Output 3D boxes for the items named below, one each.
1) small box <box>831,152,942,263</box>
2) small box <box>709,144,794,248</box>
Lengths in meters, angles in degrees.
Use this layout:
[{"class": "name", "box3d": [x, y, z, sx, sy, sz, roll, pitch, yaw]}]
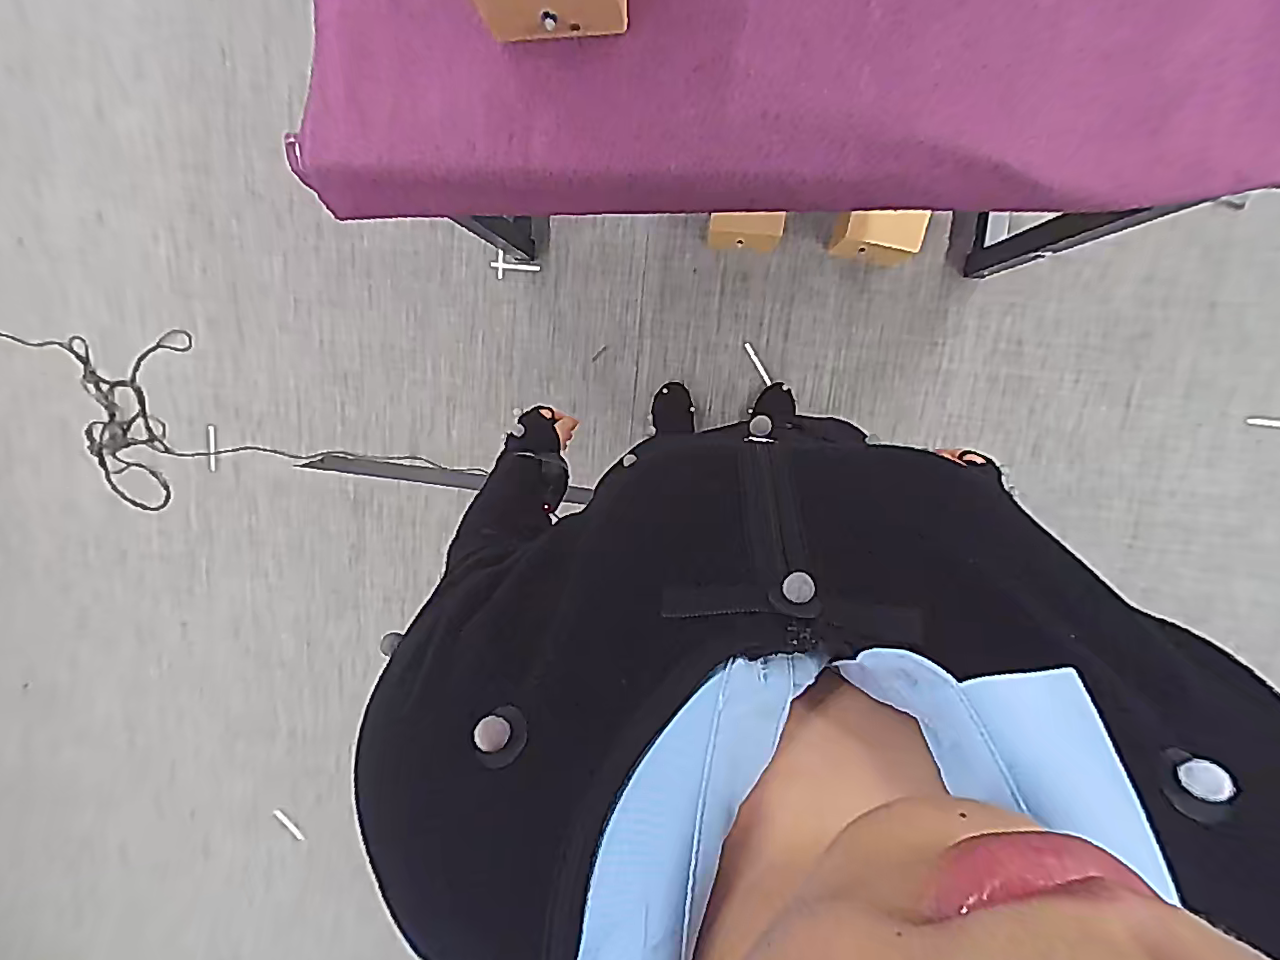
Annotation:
[{"class": "small box", "box3d": [0.560, -0.622, 1.256, 0.168, 0.176, 0.179, 14, 102, 3]}, {"class": "small box", "box3d": [0.255, -0.661, 1.277, 0.168, 0.176, 0.179, 7, 101, 4]}]
